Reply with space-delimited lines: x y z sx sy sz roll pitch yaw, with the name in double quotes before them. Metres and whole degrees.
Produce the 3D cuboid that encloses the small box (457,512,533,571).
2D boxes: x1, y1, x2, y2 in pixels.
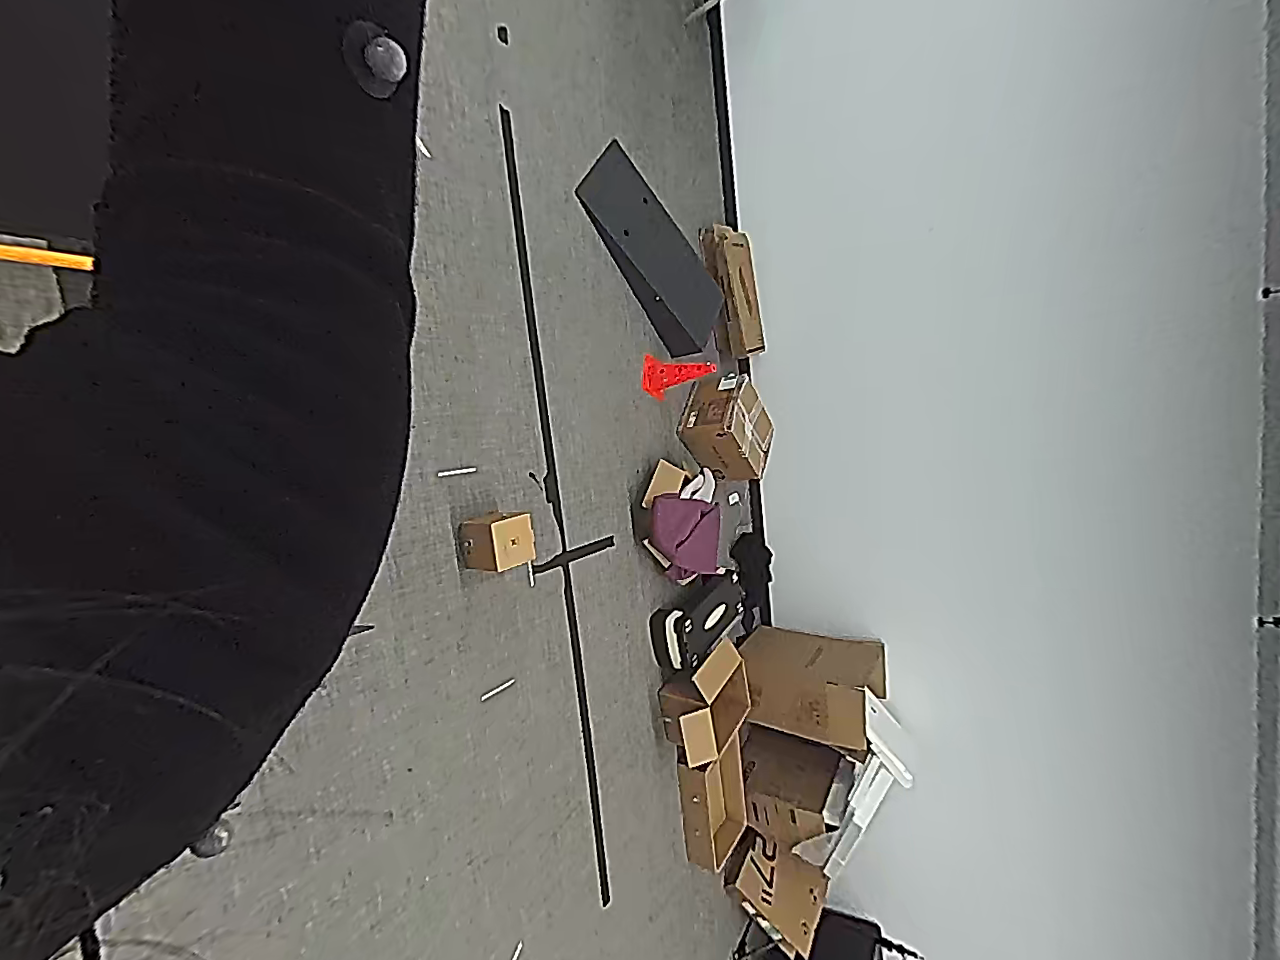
"small box" -0.498 0.206 1.858 0.179 0.176 0.168 -16 101 -53
